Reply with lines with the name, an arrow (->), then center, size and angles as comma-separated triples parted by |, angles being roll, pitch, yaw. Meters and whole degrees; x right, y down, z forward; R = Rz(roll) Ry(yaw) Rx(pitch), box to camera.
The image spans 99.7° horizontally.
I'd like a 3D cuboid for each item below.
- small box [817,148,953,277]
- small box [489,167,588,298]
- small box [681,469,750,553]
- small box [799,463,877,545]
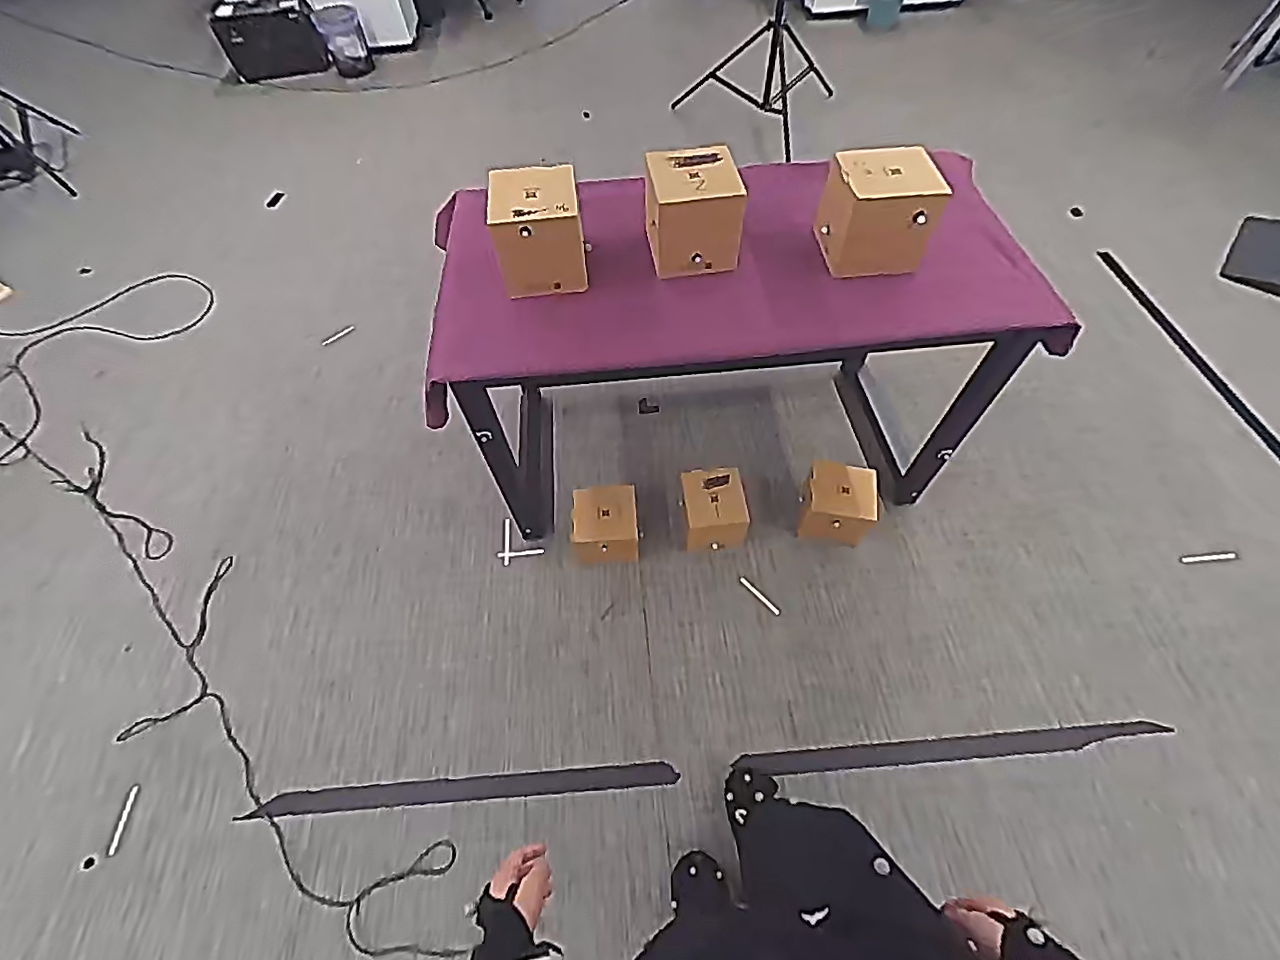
small box -> 0.471, -0.525, 1.070 | 0.179, 0.176, 0.168 | -4, 57, 1
small box -> -0.196, -0.490, 1.078 | 0.168, 0.176, 0.179 | -7, 57, -2
small box -> 0.210, 0.092, 1.555 | 0.168, 0.176, 0.179 | -6, 59, -1
small box -> 0.566, 0.073, 1.554 | 0.179, 0.176, 0.168 | 8, 59, 9
